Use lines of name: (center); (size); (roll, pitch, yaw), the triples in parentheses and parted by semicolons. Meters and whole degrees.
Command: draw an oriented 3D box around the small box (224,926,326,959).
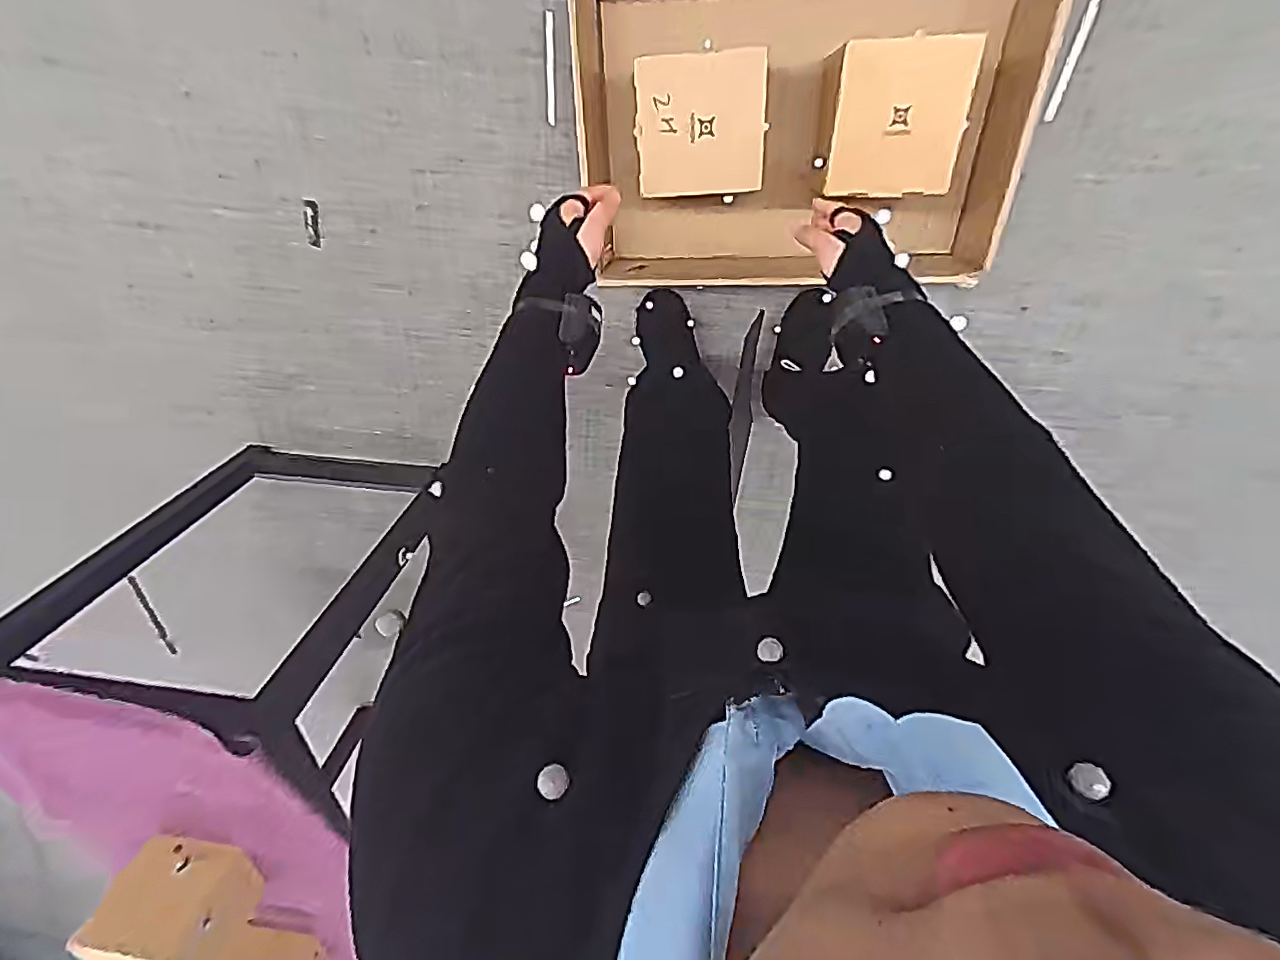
small box: (-0.823, 1.114, 1.186); (0.179, 0.176, 0.168); (6, 123, 4)

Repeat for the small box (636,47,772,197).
small box: (0.091, -0.521, 0.796); (0.179, 0.176, 0.168); (0, 122, 7)

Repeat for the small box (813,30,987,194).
small box: (0.349, -0.512, 0.768); (0.168, 0.176, 0.179); (3, 124, 7)
